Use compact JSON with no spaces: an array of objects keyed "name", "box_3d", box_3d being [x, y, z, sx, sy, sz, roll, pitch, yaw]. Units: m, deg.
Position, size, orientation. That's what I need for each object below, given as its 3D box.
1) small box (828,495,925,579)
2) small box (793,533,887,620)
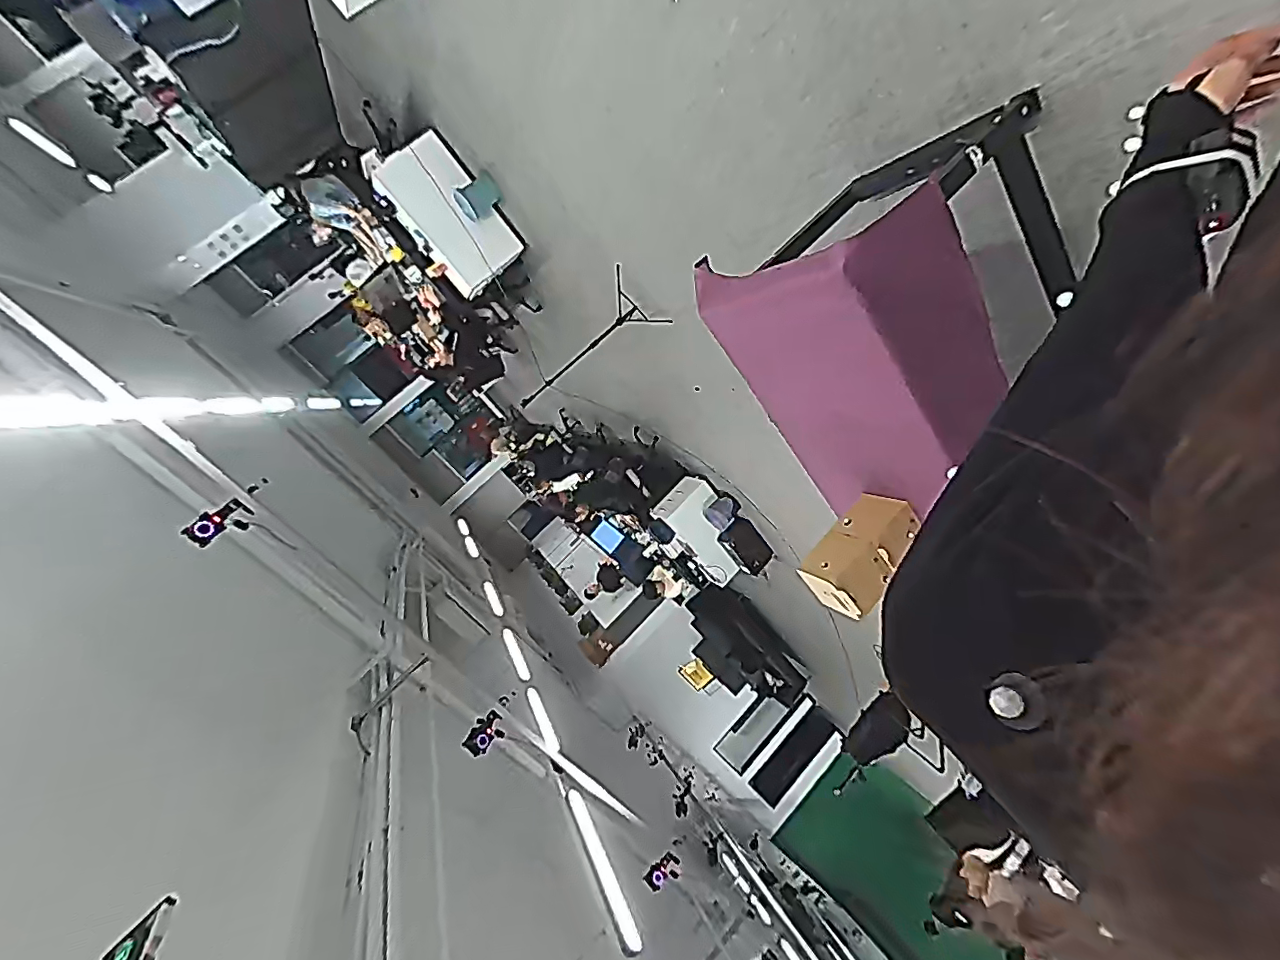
[{"name":"small box","box_3d":[0.716,0.164,1.639,0.168,0.176,0.179,50,168,-21]},{"name":"small box","box_3d":[0.601,0.278,1.607,0.168,0.176,0.179,50,169,-17]}]
